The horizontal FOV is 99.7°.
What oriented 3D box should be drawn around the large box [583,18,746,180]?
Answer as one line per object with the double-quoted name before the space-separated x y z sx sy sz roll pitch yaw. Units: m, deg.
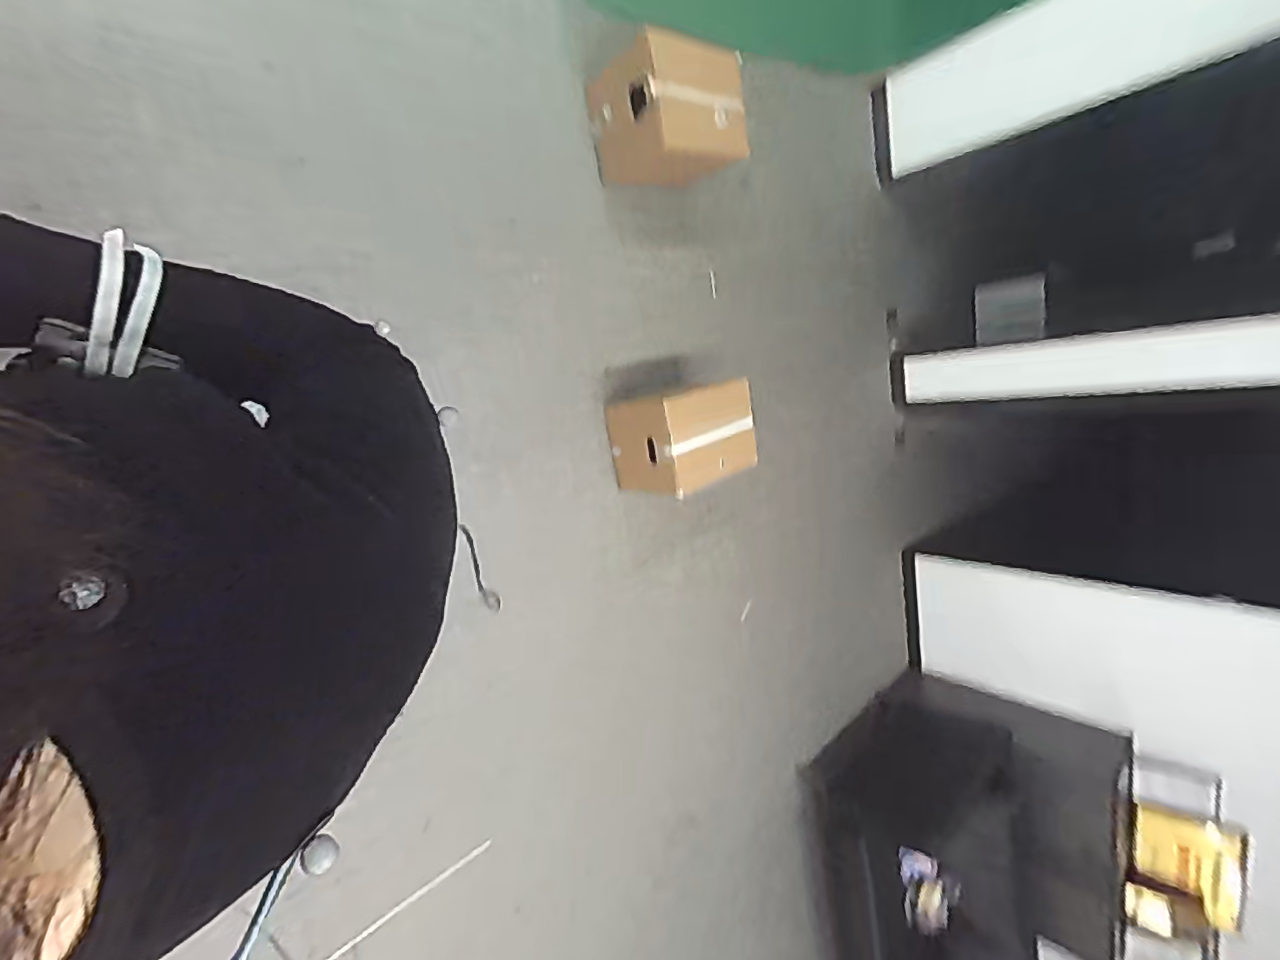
"large box" 0.083 -1.201 1.758 0.408 0.320 0.320 -21 107 -38
